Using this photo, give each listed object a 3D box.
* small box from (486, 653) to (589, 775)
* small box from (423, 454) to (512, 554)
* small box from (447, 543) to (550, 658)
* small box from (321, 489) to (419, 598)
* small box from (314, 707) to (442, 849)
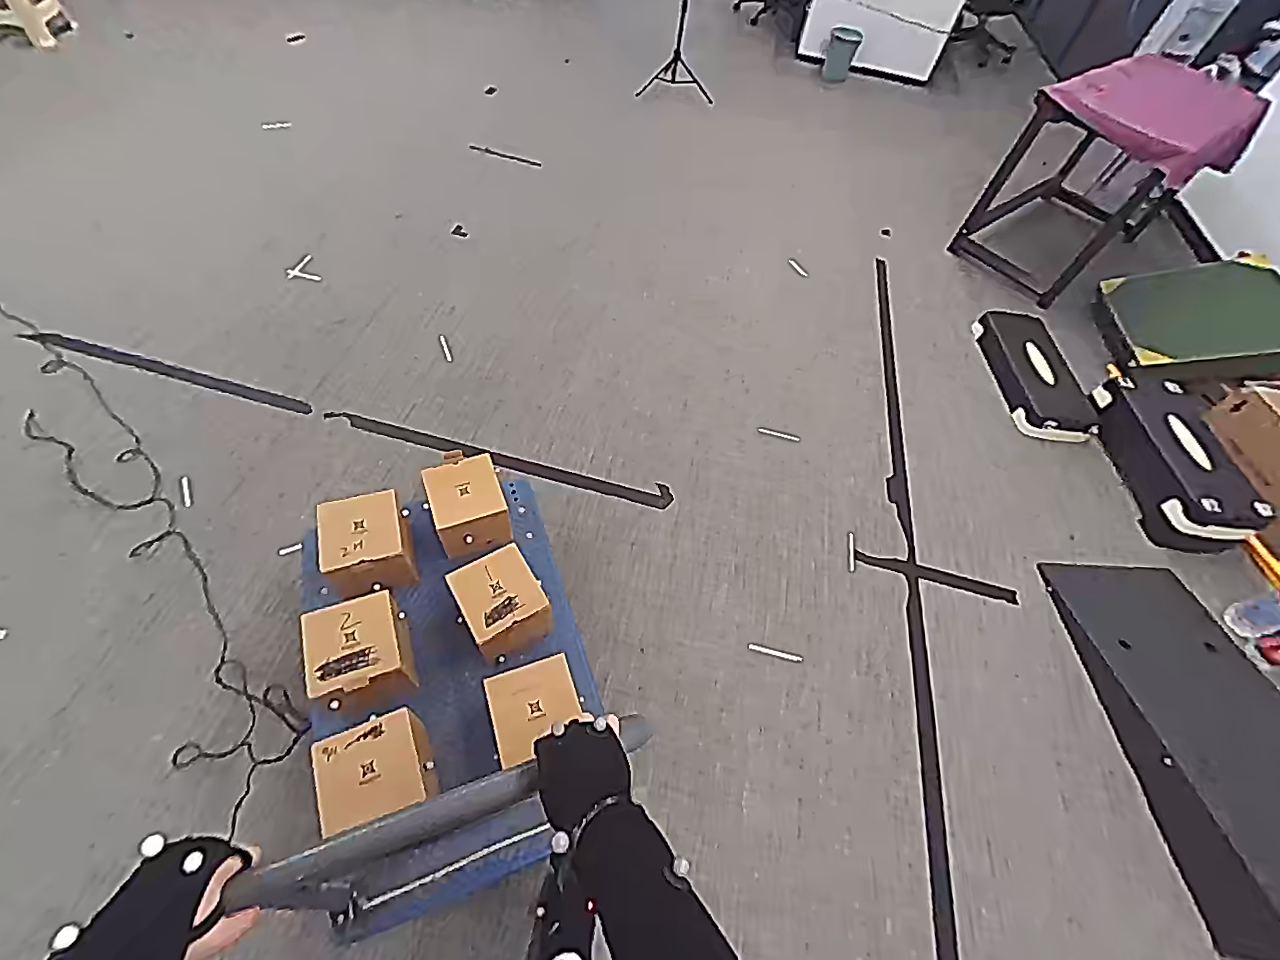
[{"bbox_3d":[-0.207,0.483,1.103,0.168,0.176,0.179,-13,58,-18],"label":"small box"},{"bbox_3d":[-0.425,0.067,1.350,0.168,0.176,0.179,-17,60,-18],"label":"small box"},{"bbox_3d":[-0.312,0.280,1.222,0.168,0.176,0.179,-25,62,-23],"label":"small box"},{"bbox_3d":[-0.626,0.150,1.262,0.168,0.176,0.179,-13,60,-16],"label":"small box"},{"bbox_3d":[-0.481,0.555,1.009,0.168,0.176,0.179,-17,60,-20],"label":"small box"}]
